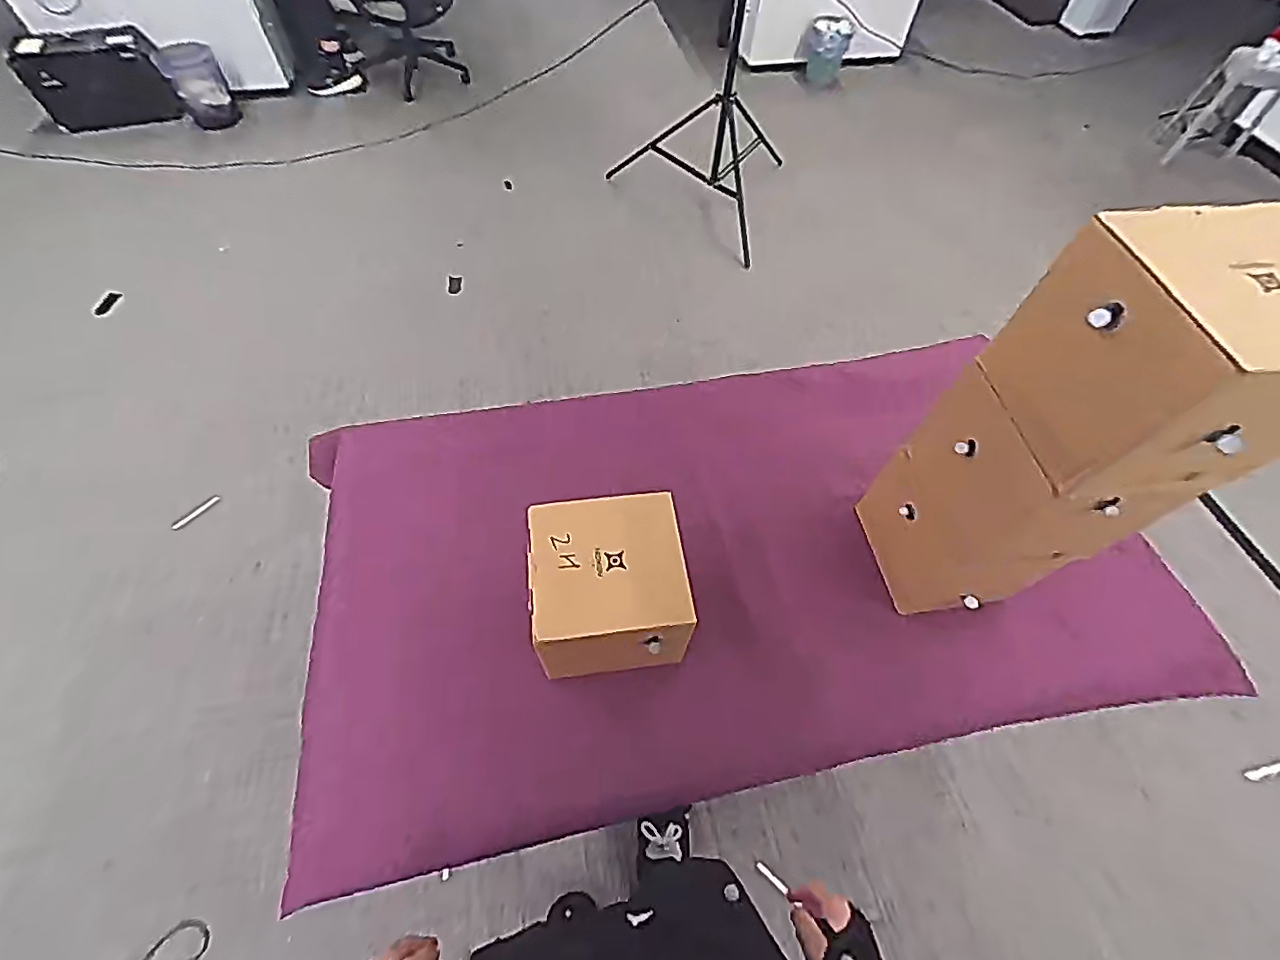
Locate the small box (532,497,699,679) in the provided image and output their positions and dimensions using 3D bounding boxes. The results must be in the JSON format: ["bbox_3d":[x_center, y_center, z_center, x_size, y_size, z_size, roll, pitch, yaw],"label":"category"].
[{"bbox_3d":[-0.036,0.139,0.675,0.179,0.176,0.168,-6,57,-6],"label":"small box"}]

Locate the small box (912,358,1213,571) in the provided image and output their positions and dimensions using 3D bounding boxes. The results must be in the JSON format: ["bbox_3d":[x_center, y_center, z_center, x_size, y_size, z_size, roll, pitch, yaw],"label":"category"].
[{"bbox_3d":[0.438,-0.018,0.598,0.168,0.176,0.179,-5,57,-4],"label":"small box"}]

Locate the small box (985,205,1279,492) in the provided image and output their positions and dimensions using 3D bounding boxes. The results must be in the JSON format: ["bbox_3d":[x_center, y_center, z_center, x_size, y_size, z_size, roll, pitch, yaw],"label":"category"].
[{"bbox_3d":[0.444,-0.100,0.457,0.168,0.176,0.179,-5,57,-4],"label":"small box"}]

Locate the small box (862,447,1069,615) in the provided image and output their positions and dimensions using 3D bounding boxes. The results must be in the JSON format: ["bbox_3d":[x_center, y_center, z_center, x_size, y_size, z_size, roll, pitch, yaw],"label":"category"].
[{"bbox_3d":[0.432,0.066,0.739,0.168,0.176,0.179,-7,58,-6],"label":"small box"}]
